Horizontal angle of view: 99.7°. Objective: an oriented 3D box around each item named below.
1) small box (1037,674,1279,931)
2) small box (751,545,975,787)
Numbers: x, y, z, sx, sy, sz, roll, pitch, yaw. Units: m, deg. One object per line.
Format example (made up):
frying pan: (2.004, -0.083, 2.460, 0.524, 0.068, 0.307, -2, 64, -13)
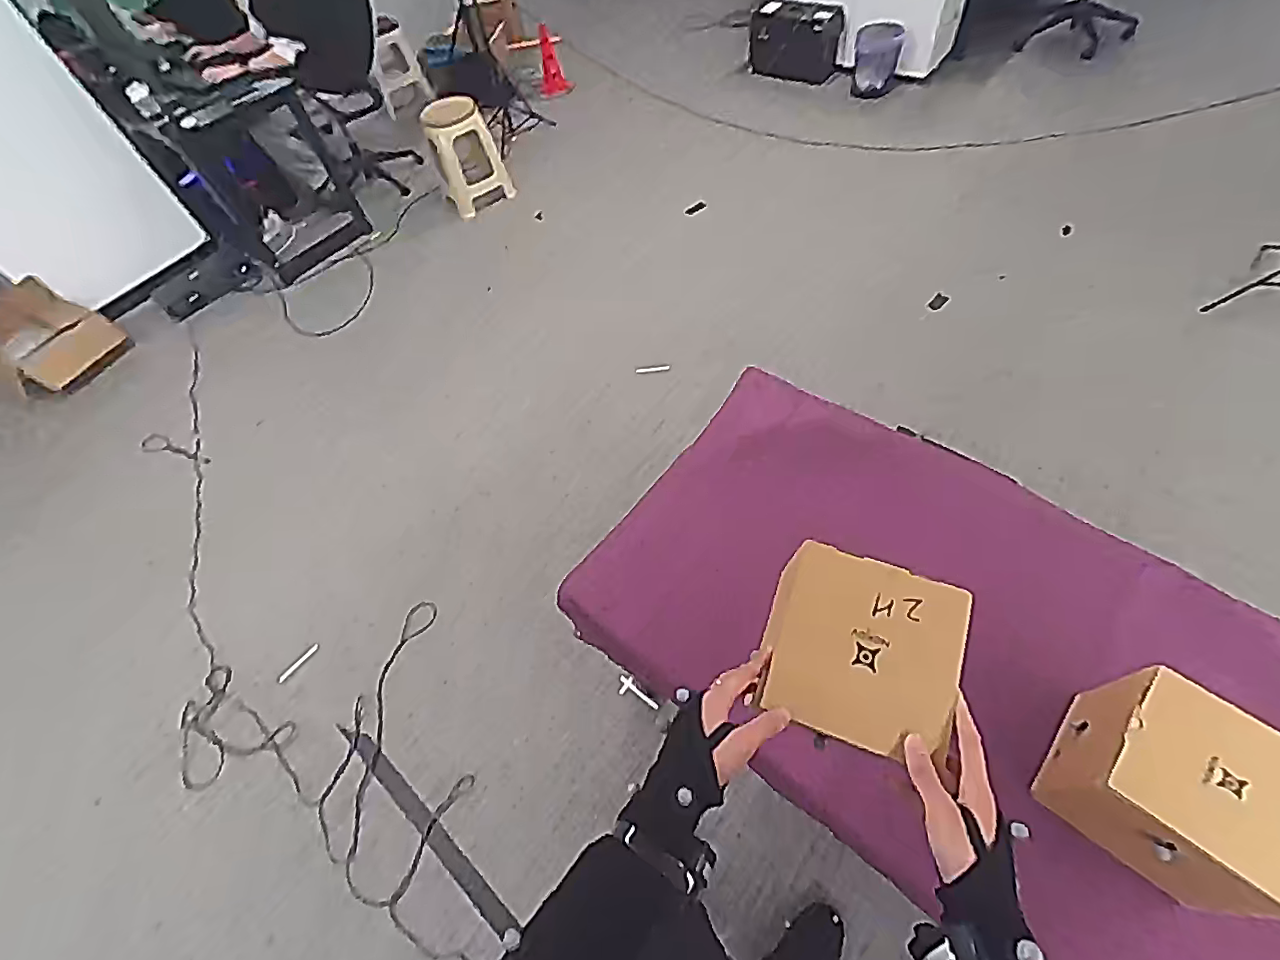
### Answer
small box: (0.613, 0.359, 0.618, 0.179, 0.176, 0.168, 35, 68, 27)
small box: (0.224, 0.196, 0.583, 0.168, 0.176, 0.179, 18, 71, 12)
